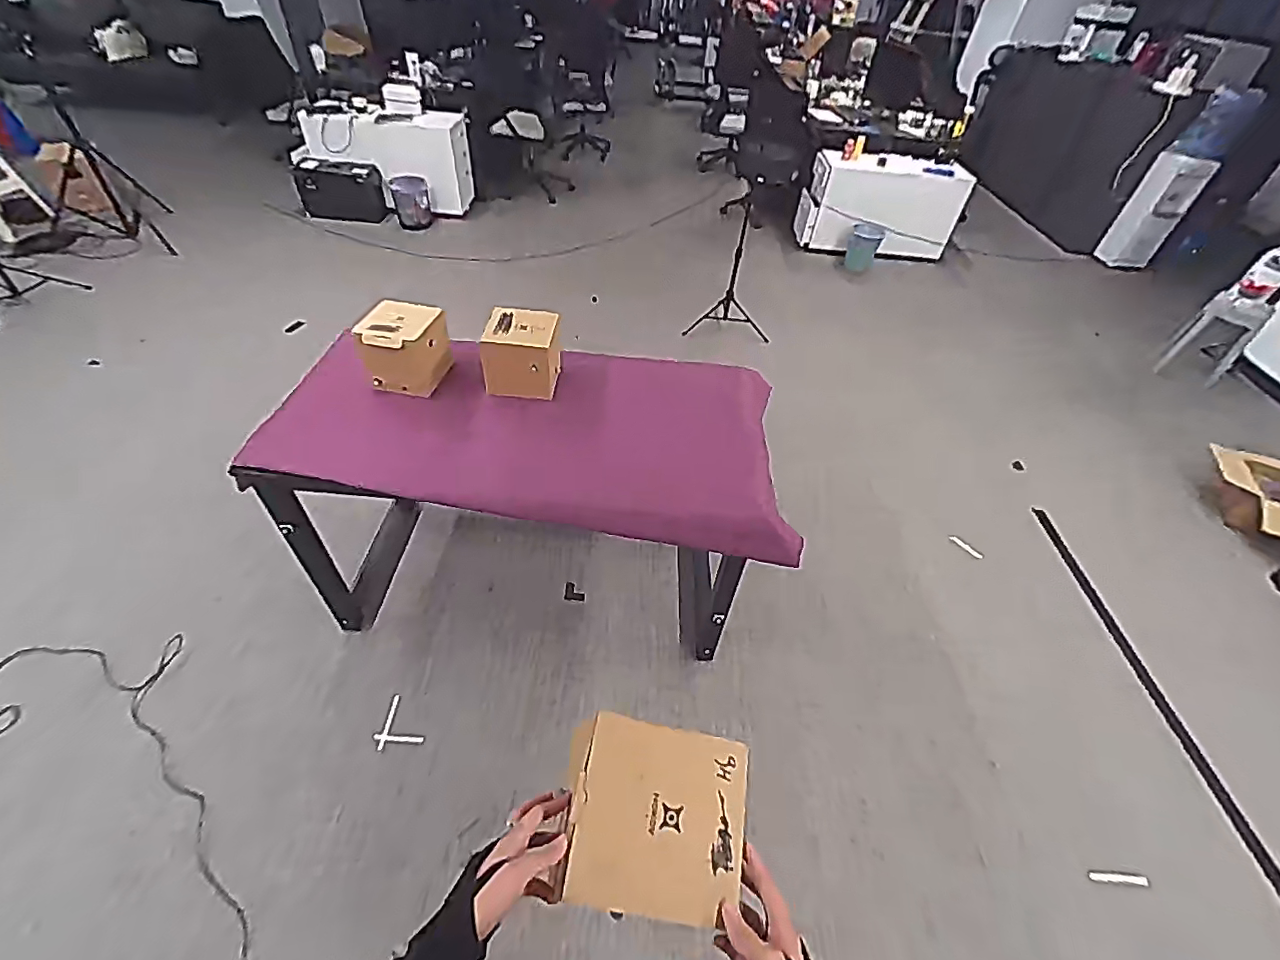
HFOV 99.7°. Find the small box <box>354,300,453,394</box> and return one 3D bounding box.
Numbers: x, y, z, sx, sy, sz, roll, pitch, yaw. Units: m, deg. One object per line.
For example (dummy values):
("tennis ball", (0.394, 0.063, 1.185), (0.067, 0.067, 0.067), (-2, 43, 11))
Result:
("small box", (-0.608, -0.347, 1.419), (0.168, 0.176, 0.179), (10, 46, 3))
